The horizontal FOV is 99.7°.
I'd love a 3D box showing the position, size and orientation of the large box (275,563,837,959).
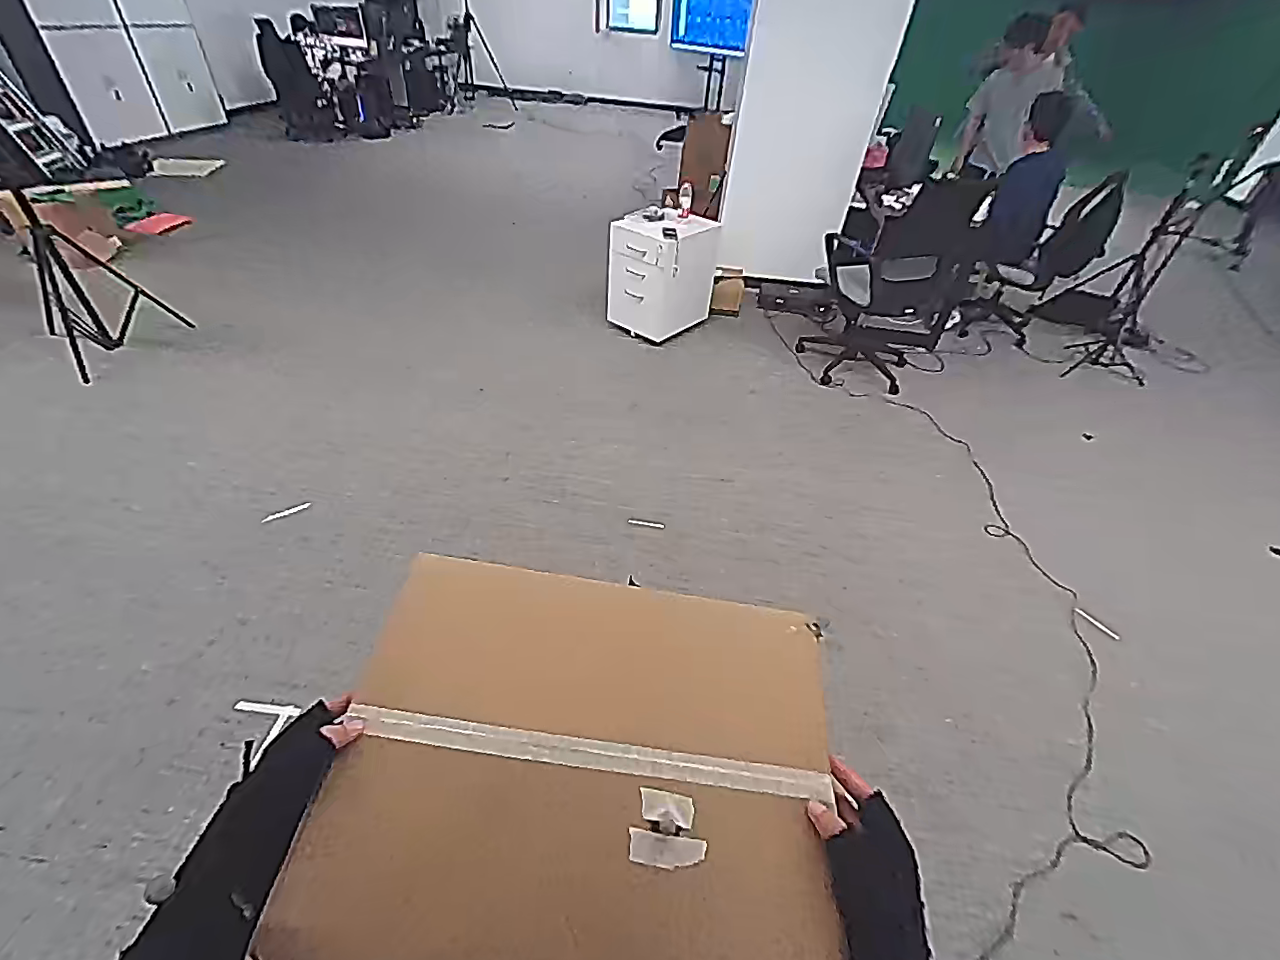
[{"bbox_3d":[-0.060,0.320,0.581,0.408,0.320,0.320,9,53,-2],"label":"large box"}]
